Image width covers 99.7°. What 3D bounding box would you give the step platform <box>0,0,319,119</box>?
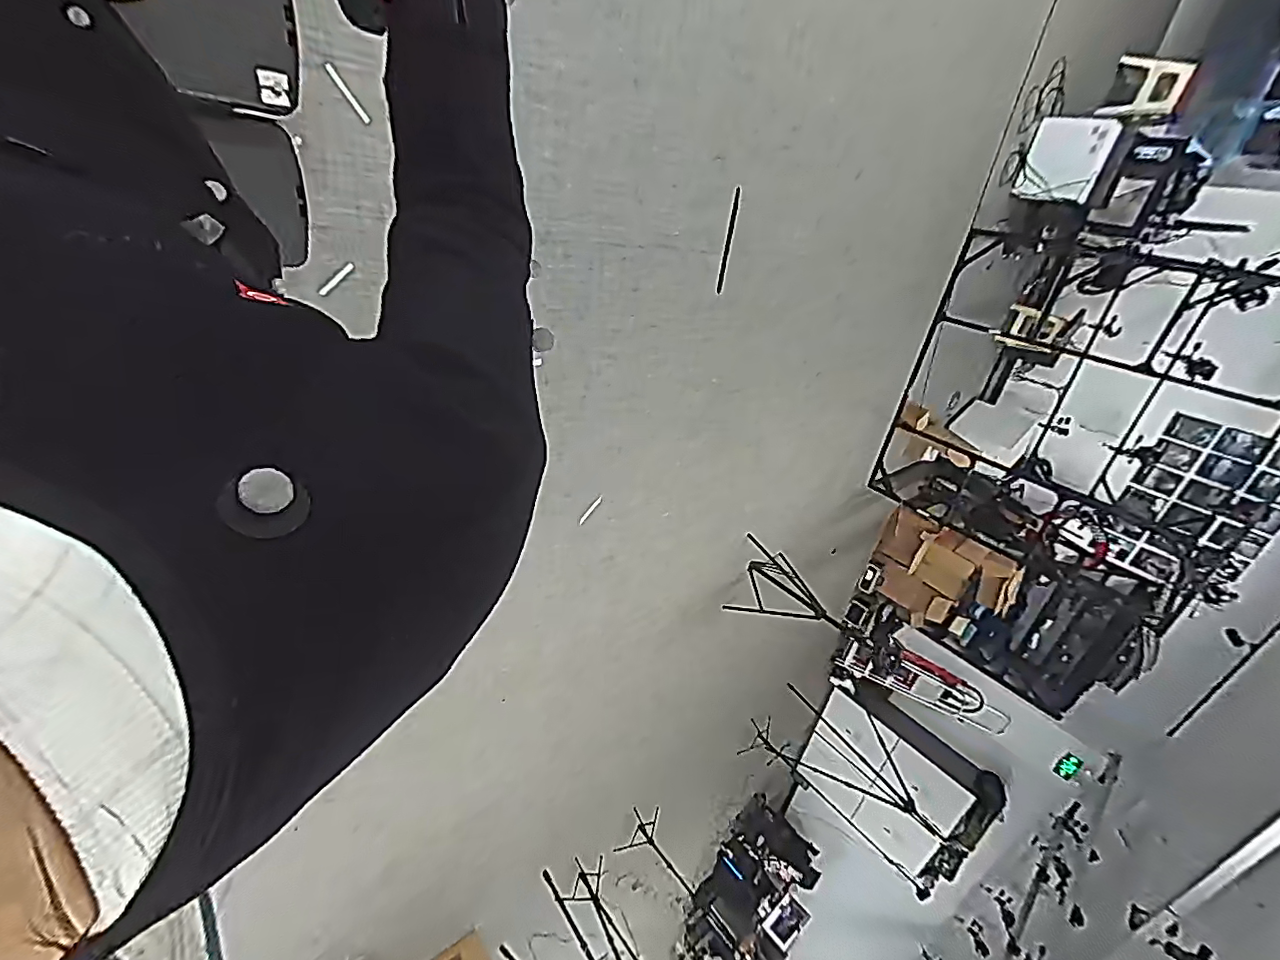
[{"bbox_3d":[-0.892,-0.781,0.830,0.684,0.204,0.286,-18,129,-39],"label":"step platform"}]
